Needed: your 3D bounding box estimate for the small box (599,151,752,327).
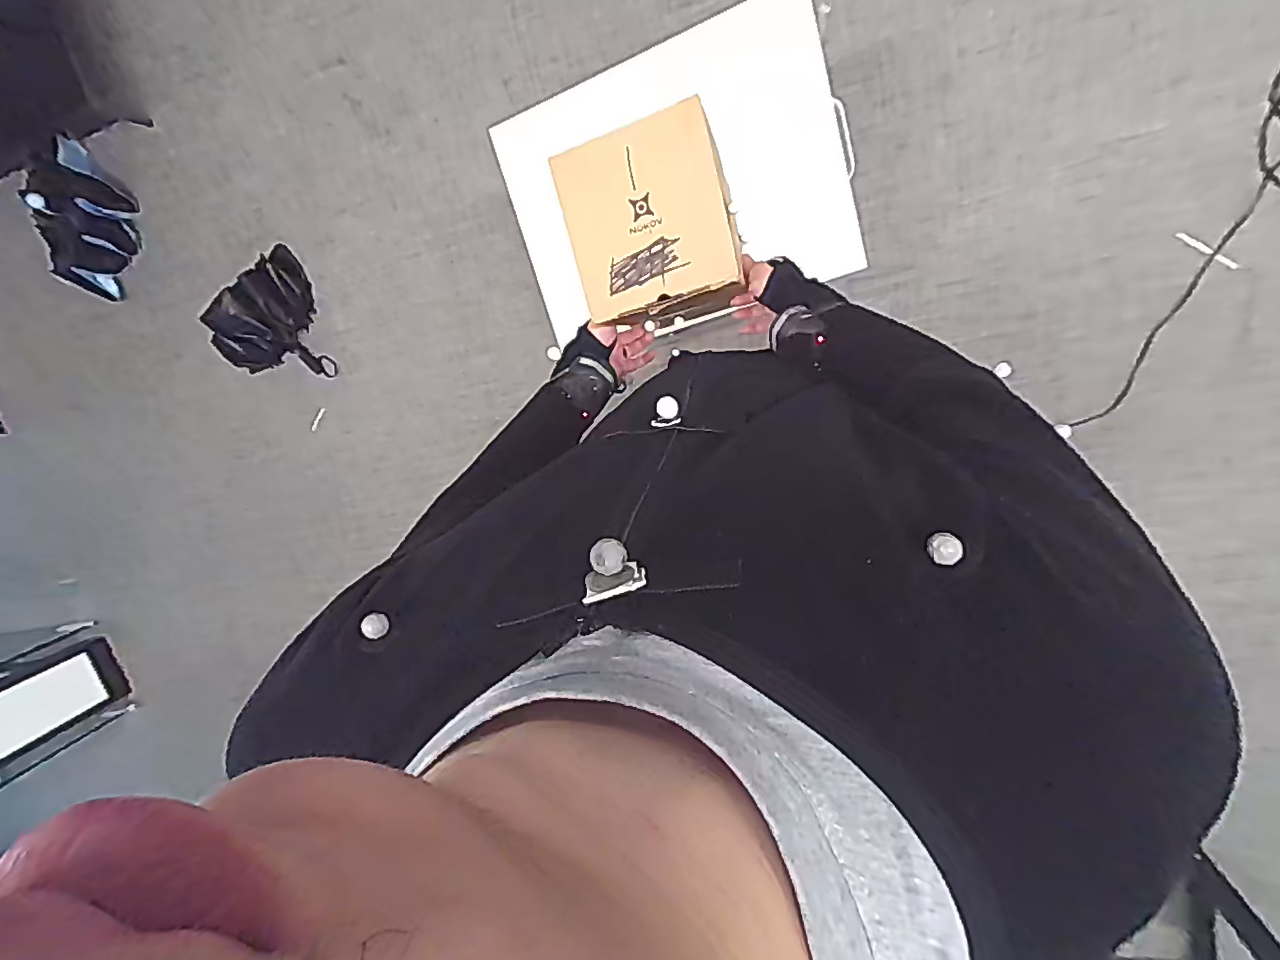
[{"bbox_3d":[0.060,-0.330,0.781,0.168,0.176,0.179,-13,101,18],"label":"small box"}]
